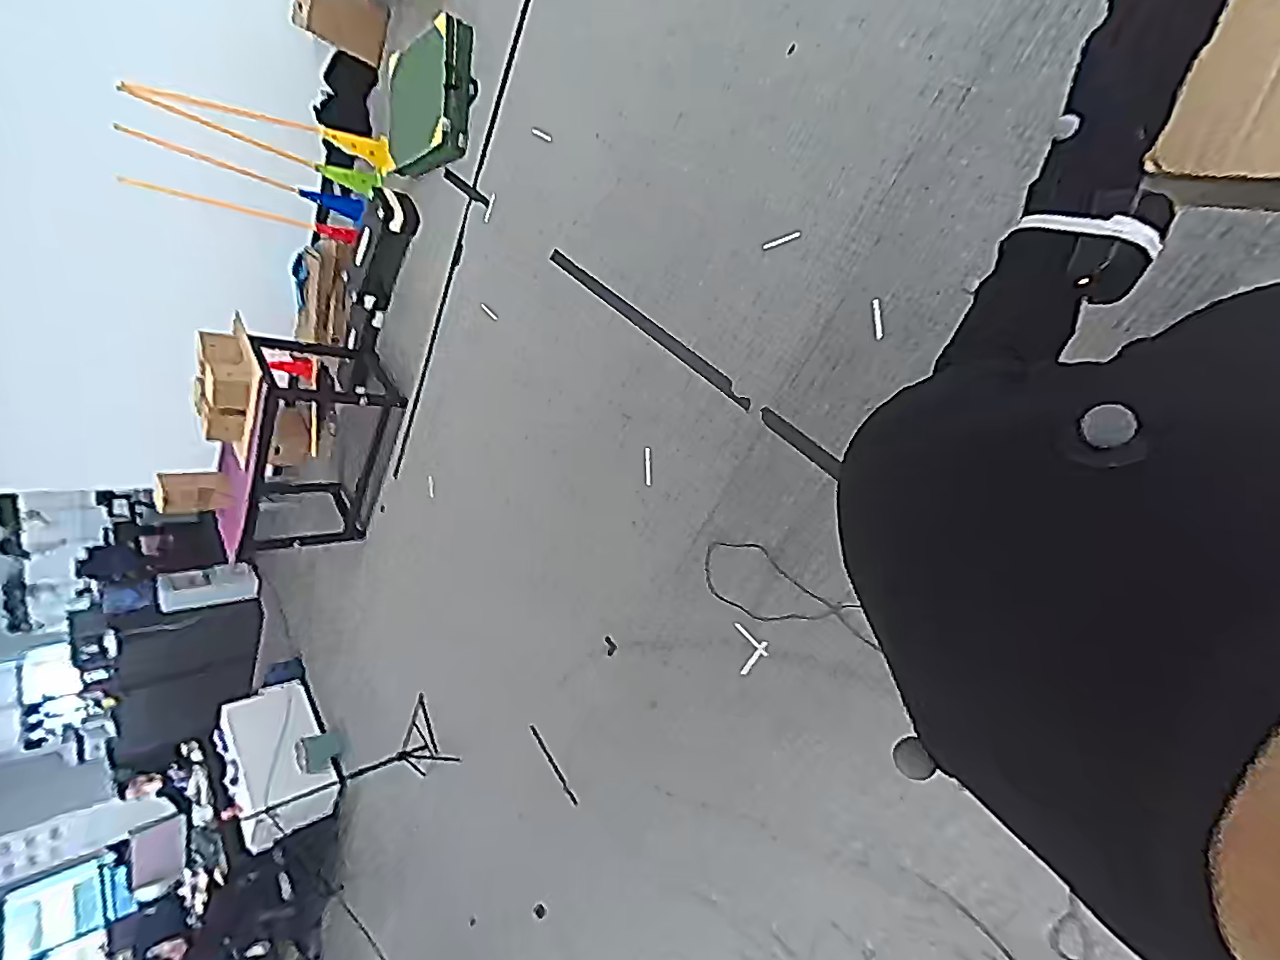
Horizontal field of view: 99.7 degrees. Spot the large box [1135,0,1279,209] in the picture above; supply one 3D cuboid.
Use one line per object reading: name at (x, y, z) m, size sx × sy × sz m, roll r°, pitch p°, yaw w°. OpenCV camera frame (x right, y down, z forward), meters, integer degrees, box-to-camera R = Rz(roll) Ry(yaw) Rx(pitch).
large box at (0.634, -0.351, 0.342) m, size 0.408 × 0.320 × 0.320 m, roll 23°, pitch 122°, yaw 33°
